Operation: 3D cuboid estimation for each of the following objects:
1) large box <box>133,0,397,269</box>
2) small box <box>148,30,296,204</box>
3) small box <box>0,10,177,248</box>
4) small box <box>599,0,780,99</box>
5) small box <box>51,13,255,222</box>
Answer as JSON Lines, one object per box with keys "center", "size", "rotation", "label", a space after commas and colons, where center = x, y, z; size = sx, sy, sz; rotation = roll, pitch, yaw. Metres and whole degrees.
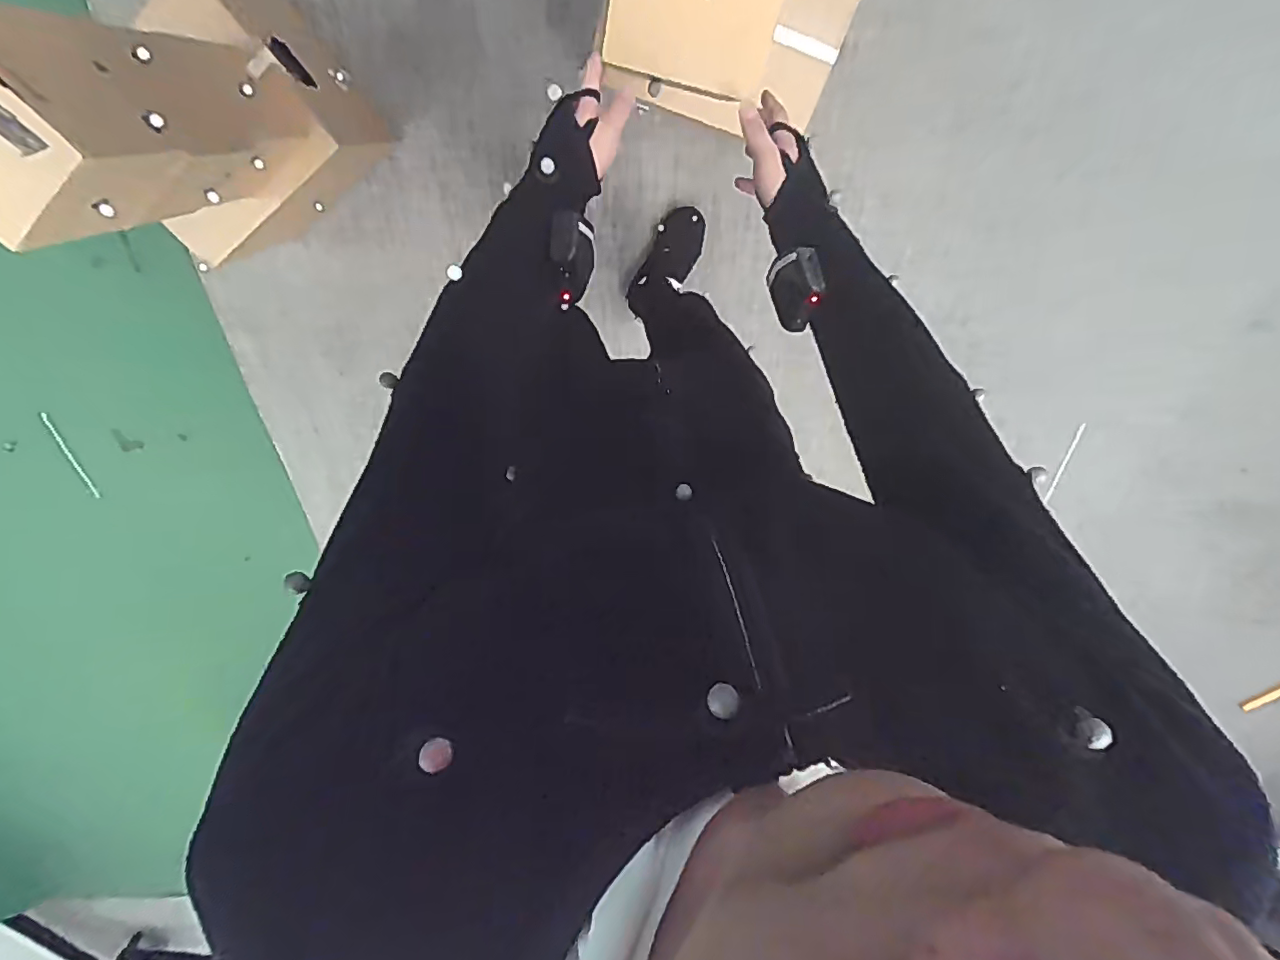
{"center": [-0.798, -0.717, 1.116], "size": [0.408, 0.320, 0.320], "rotation": [-29, 117, 18], "label": "large box"}
{"center": [-0.720, -0.595, 0.901], "size": [0.179, 0.176, 0.168], "rotation": [-30, 118, 18], "label": "small box"}
{"center": [-0.707, -0.410, 0.633], "size": [0.179, 0.176, 0.168], "rotation": [-29, 119, 19], "label": "small box"}
{"center": [0.057, -0.523, 0.568], "size": [0.168, 0.176, 0.179], "rotation": [10, 123, -7], "label": "small box"}
{"center": [-0.713, -0.502, 0.768], "size": [0.168, 0.176, 0.179], "rotation": [-28, 120, 17], "label": "small box"}
